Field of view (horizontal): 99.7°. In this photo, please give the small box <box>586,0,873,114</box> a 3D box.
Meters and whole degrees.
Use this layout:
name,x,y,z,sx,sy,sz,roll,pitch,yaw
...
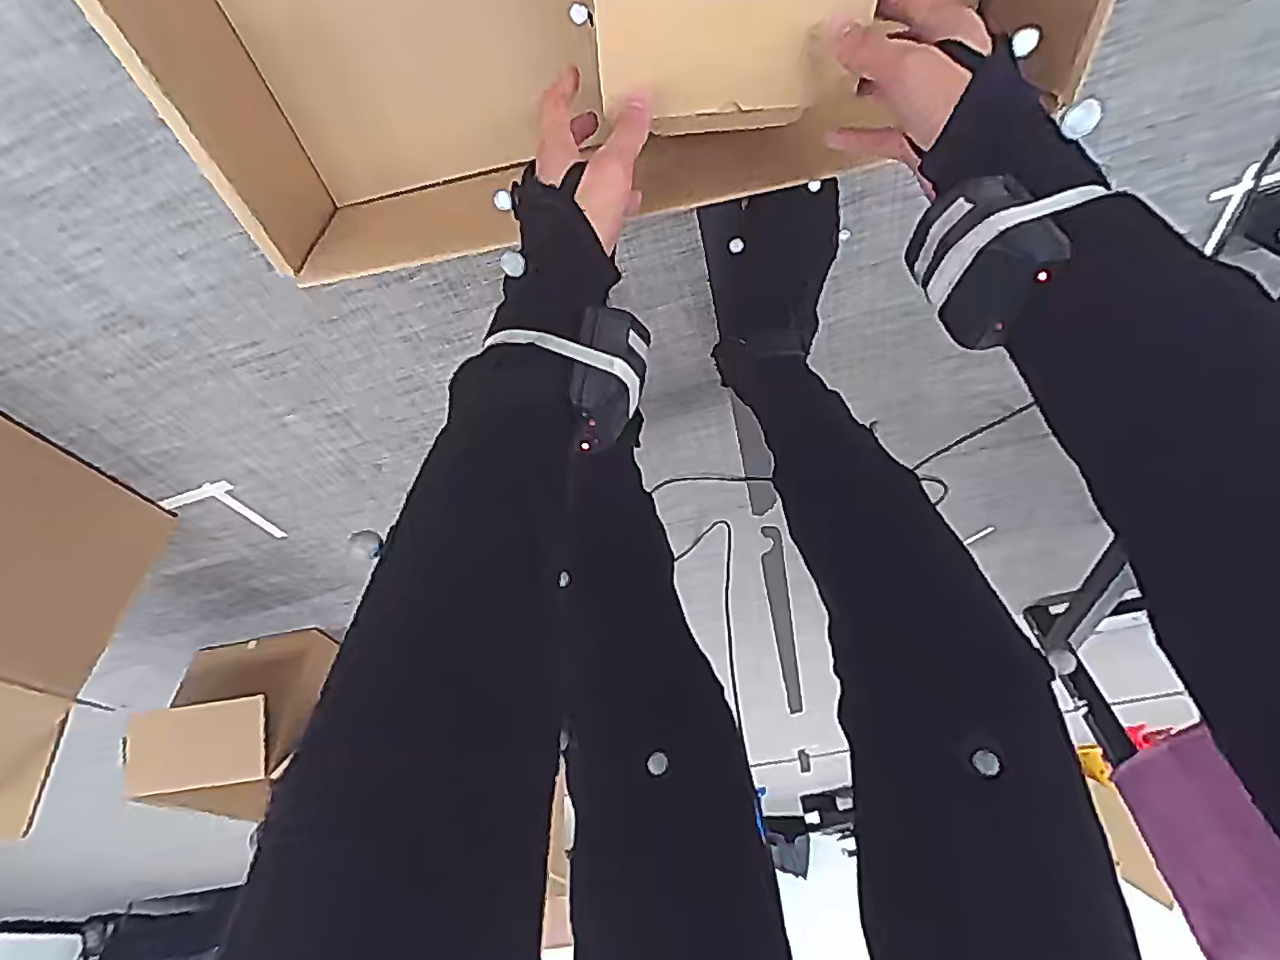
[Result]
name,x,y,z,sx,sy,sz,roll,pitch,yaw
small box,0.045,-0.354,0.329,0.168,0.176,0.179,-5,139,-1
